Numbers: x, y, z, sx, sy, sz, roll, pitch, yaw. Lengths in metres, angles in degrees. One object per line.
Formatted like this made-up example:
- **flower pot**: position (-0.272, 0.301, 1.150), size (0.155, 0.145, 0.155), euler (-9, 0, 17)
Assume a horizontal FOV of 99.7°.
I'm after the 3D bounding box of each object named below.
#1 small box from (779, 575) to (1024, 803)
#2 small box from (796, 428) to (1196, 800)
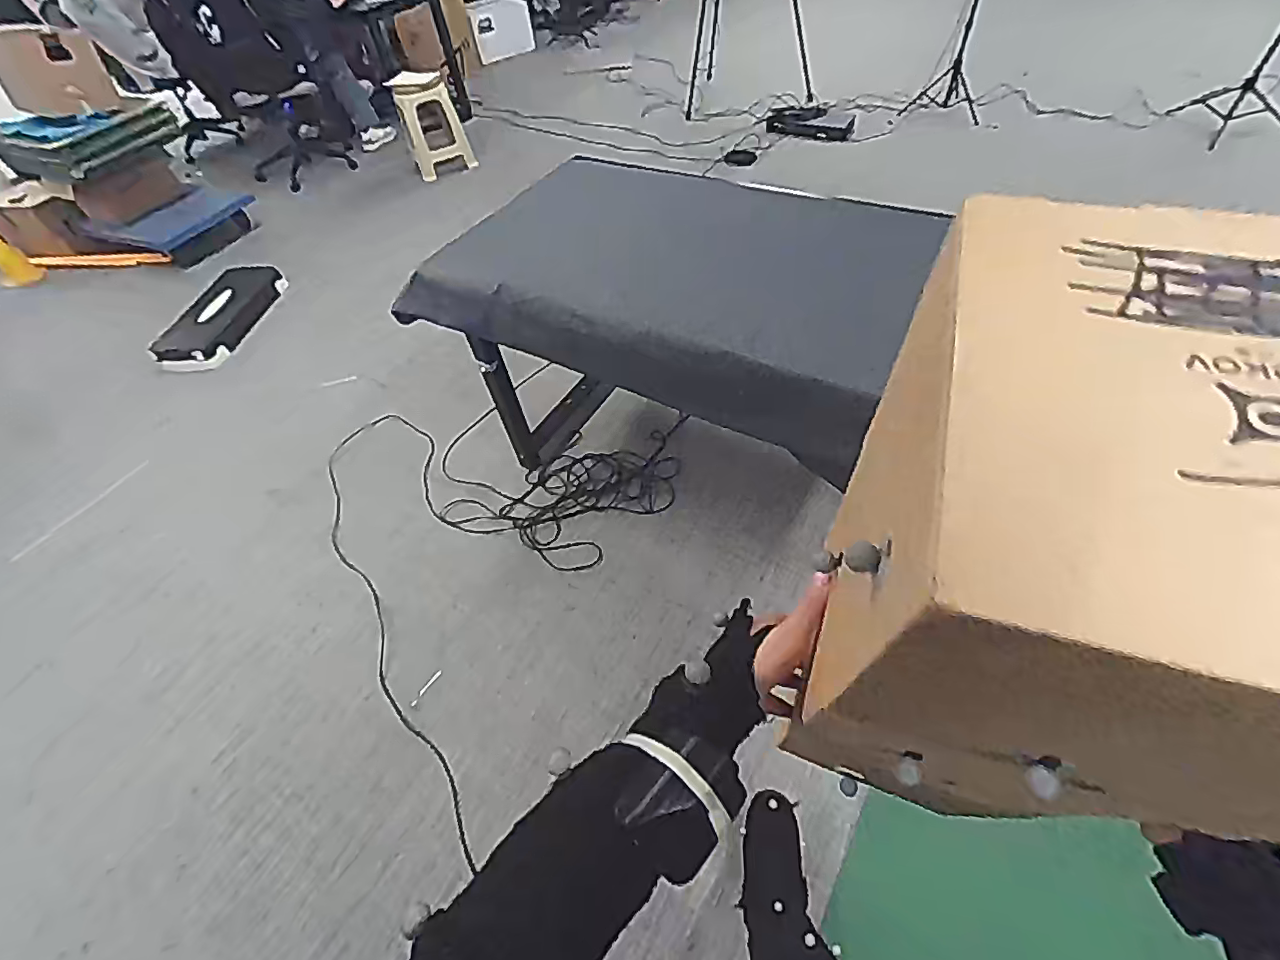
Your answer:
- **small box**: position (0.233, 0.175, 0.506), size (0.168, 0.176, 0.179), euler (14, 63, 17)
- **small box**: position (0.208, 0.095, 0.366), size (0.168, 0.176, 0.179), euler (13, 61, 16)
